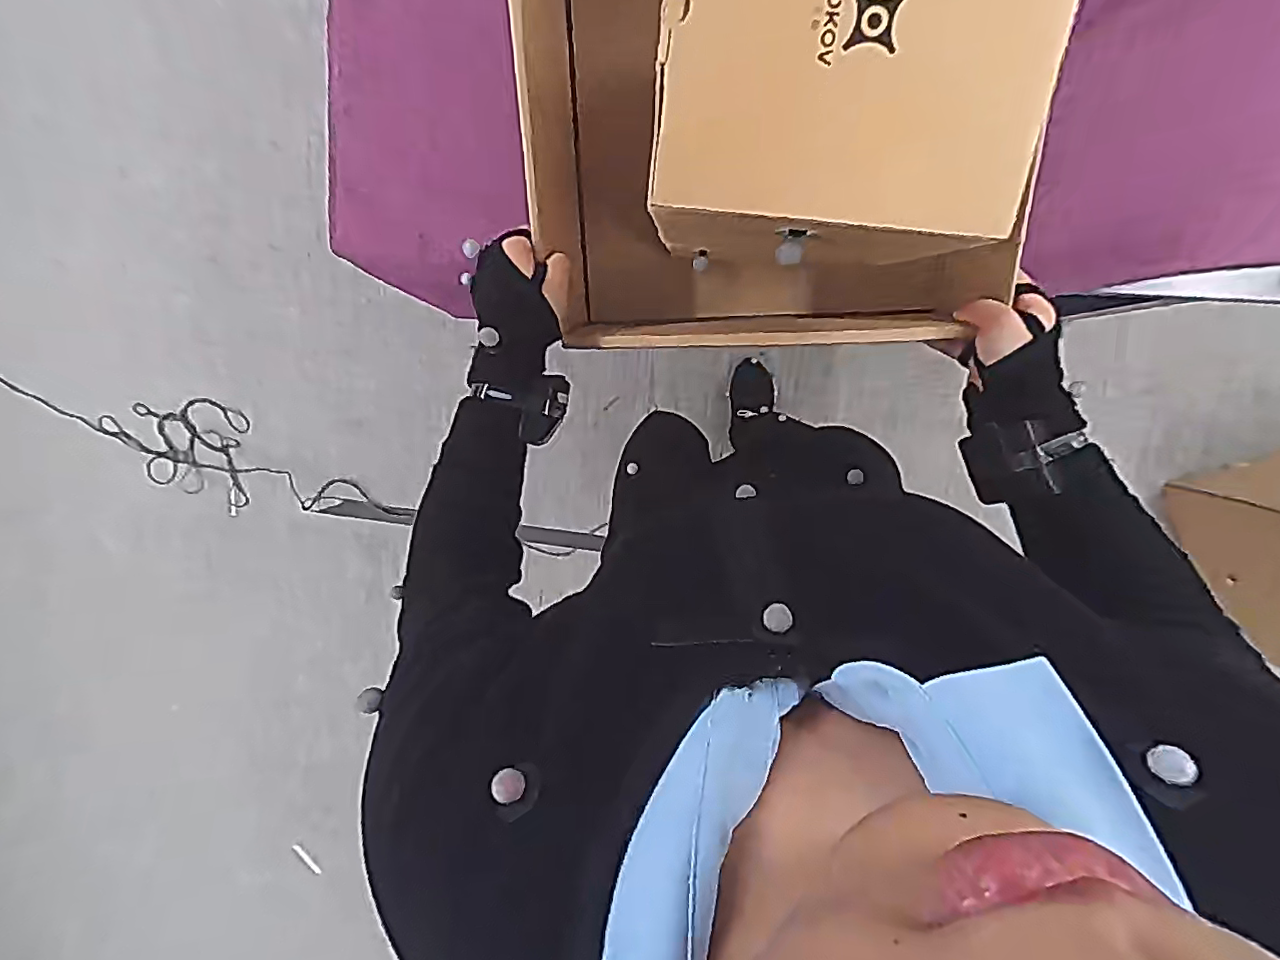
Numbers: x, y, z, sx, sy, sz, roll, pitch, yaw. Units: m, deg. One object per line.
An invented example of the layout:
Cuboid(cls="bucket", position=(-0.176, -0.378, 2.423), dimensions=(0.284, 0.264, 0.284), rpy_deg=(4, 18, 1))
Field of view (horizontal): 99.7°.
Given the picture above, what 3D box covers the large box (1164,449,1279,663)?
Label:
Cuboid(cls="large box", position=(1.488, 0.171, 1.193), dimensions=(0.320, 0.320, 0.408), rpy_deg=(-21, 97, 10))
